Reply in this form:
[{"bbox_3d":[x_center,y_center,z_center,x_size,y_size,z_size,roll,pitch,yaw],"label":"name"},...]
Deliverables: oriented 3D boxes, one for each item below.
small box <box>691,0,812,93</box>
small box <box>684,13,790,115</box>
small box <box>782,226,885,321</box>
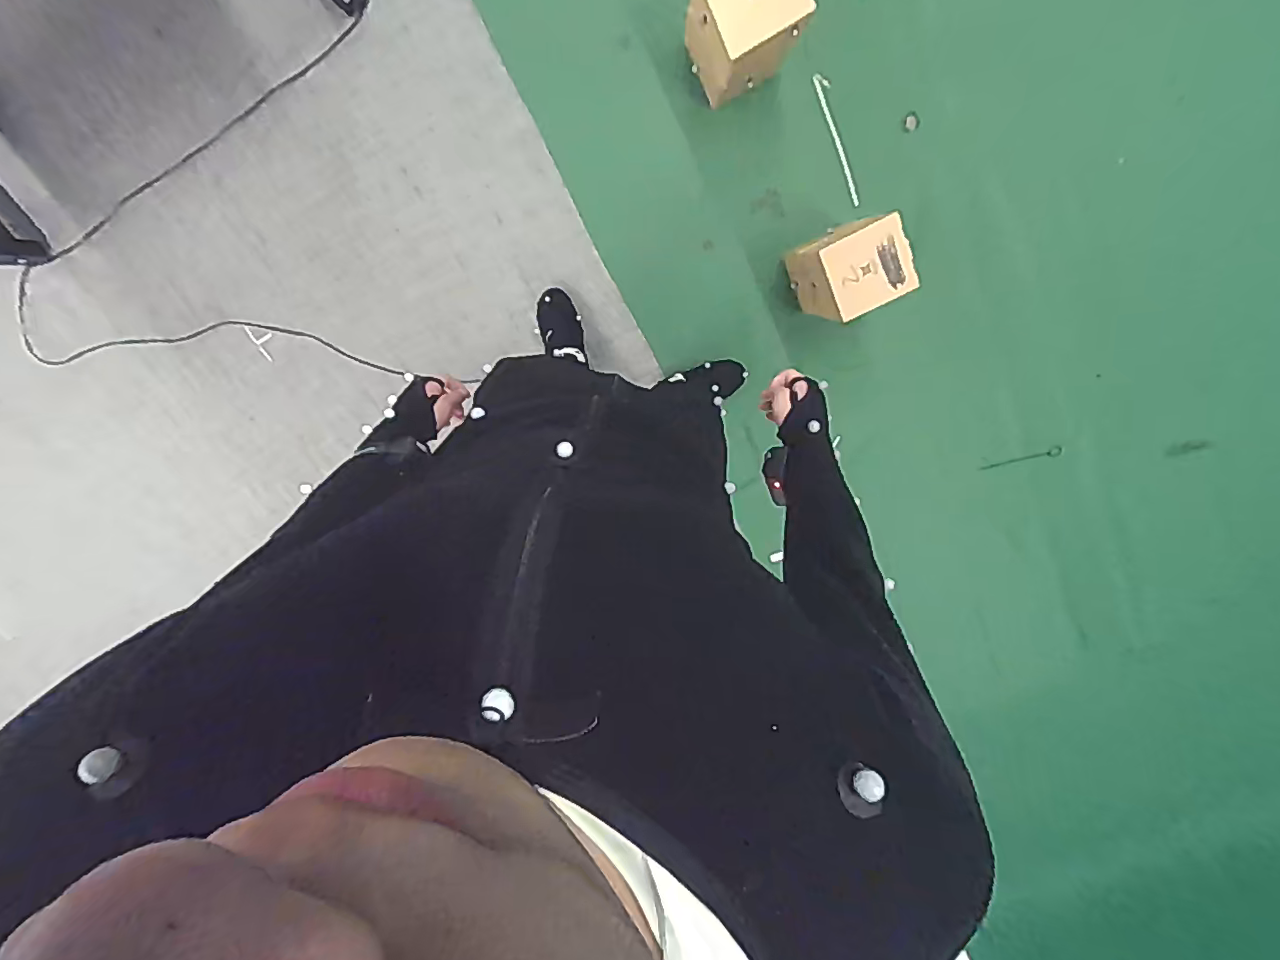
[{"bbox_3d":[0.211,-0.919,1.074,0.179,0.176,0.168,-27,106,9],"label":"small box"},{"bbox_3d":[0.213,-0.975,1.226,0.179,0.176,0.168,-26,107,11],"label":"small box"},{"bbox_3d":[0.487,-0.526,1.381,0.179,0.176,0.168,-24,108,10],"label":"small box"}]
